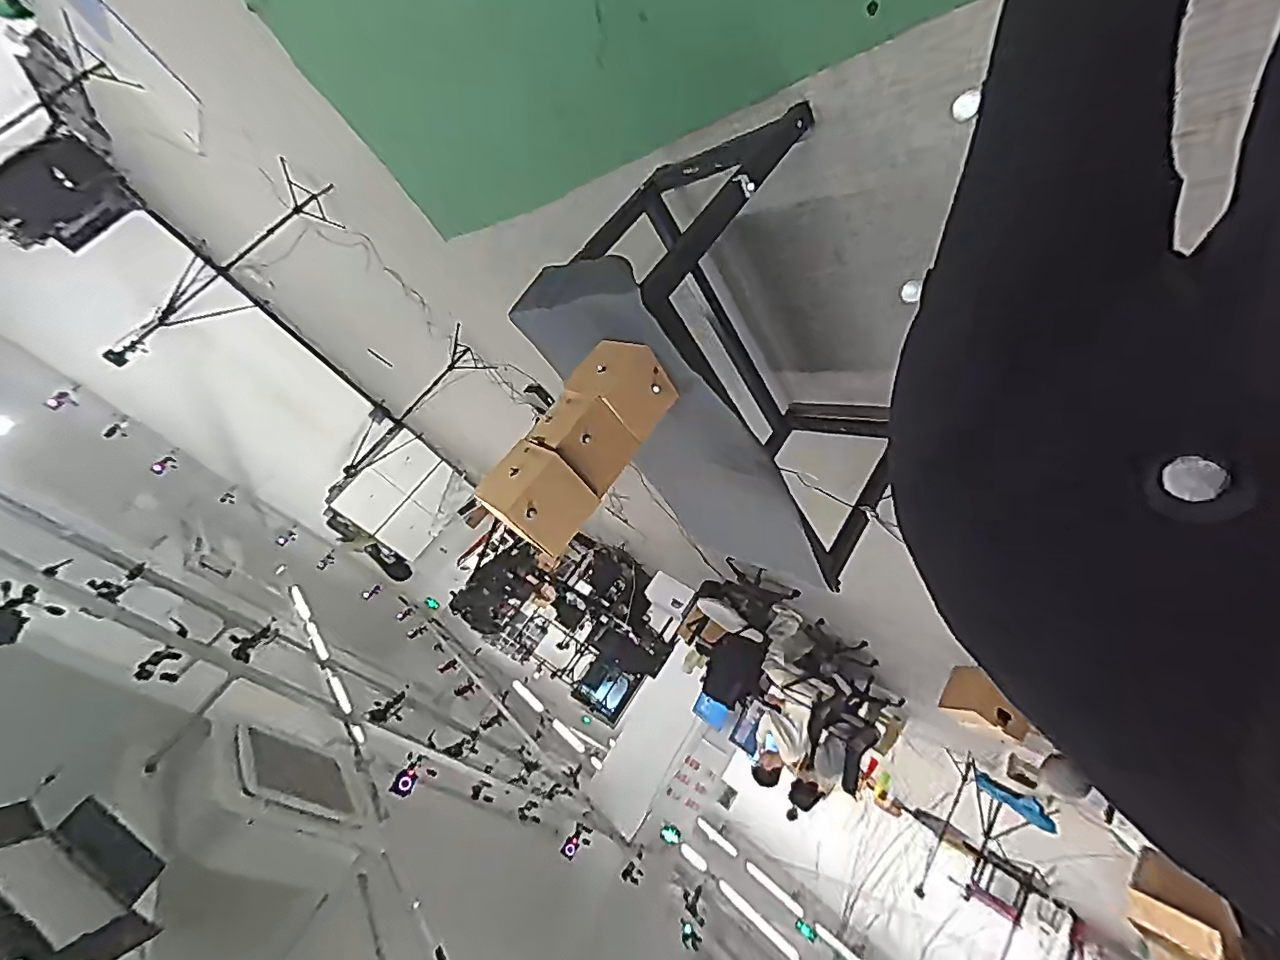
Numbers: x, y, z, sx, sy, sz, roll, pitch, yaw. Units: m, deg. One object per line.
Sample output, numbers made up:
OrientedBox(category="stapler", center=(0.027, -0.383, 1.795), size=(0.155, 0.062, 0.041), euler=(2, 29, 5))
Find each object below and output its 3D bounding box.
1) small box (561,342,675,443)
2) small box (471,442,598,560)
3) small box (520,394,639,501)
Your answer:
OrientedBox(category="small box", center=(-0.049, -0.213, 1.296), size=(0.179, 0.176, 0.168), euler=(20, 157, 45))
OrientedBox(category="small box", center=(-0.228, 0.040, 1.189), size=(0.168, 0.176, 0.179), euler=(21, 158, 48))
OrientedBox(category="small box", center=(-0.137, -0.082, 1.258), size=(0.168, 0.176, 0.179), euler=(18, 157, 53))
